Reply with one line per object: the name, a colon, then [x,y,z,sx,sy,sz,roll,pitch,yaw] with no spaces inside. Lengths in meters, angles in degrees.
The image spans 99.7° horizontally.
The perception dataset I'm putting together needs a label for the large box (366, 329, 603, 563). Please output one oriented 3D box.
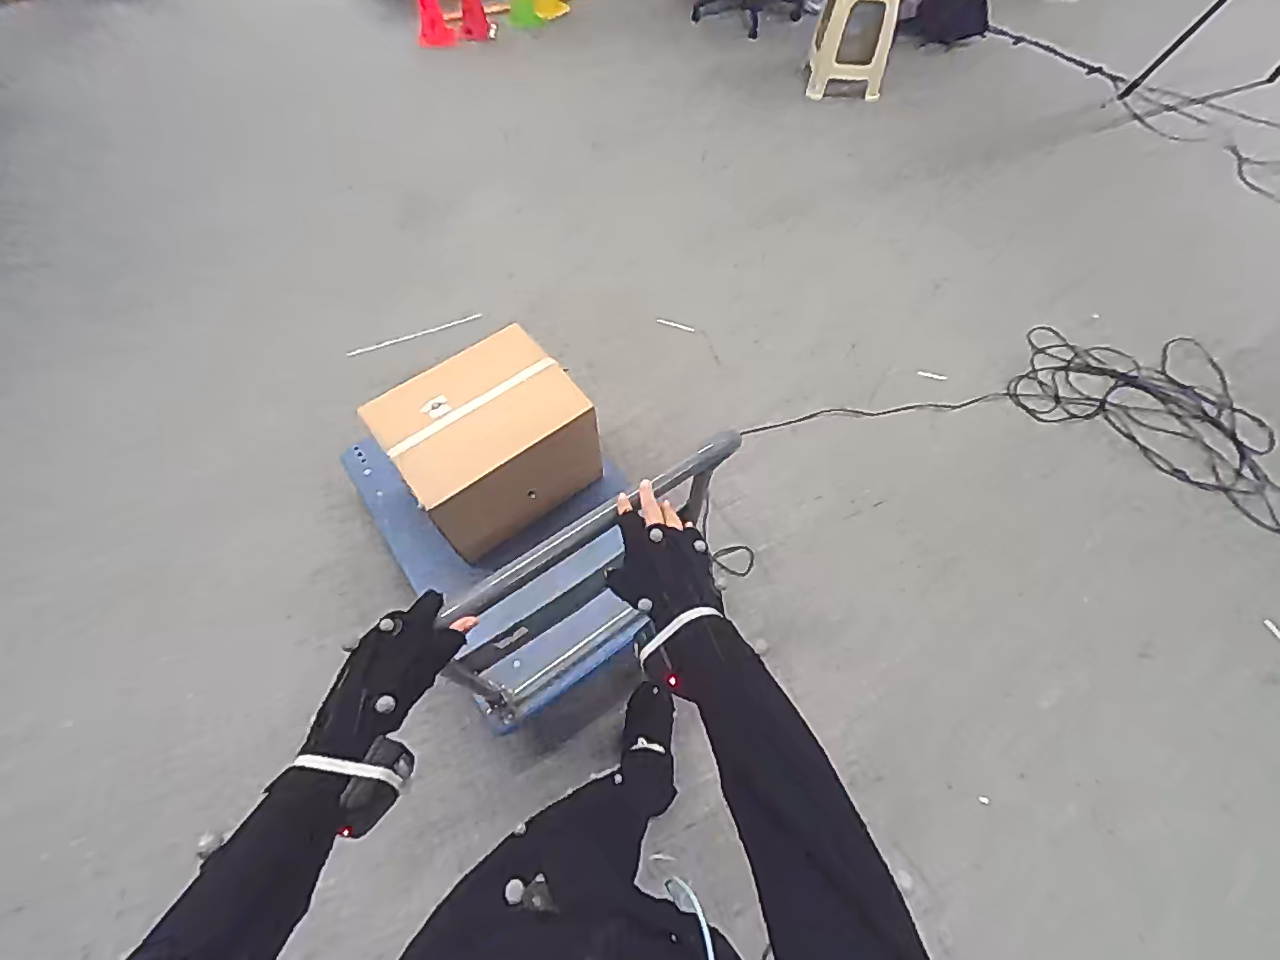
large box: [-0.342,-0.075,1.293,0.408,0.320,0.320,-36,66,-17]
